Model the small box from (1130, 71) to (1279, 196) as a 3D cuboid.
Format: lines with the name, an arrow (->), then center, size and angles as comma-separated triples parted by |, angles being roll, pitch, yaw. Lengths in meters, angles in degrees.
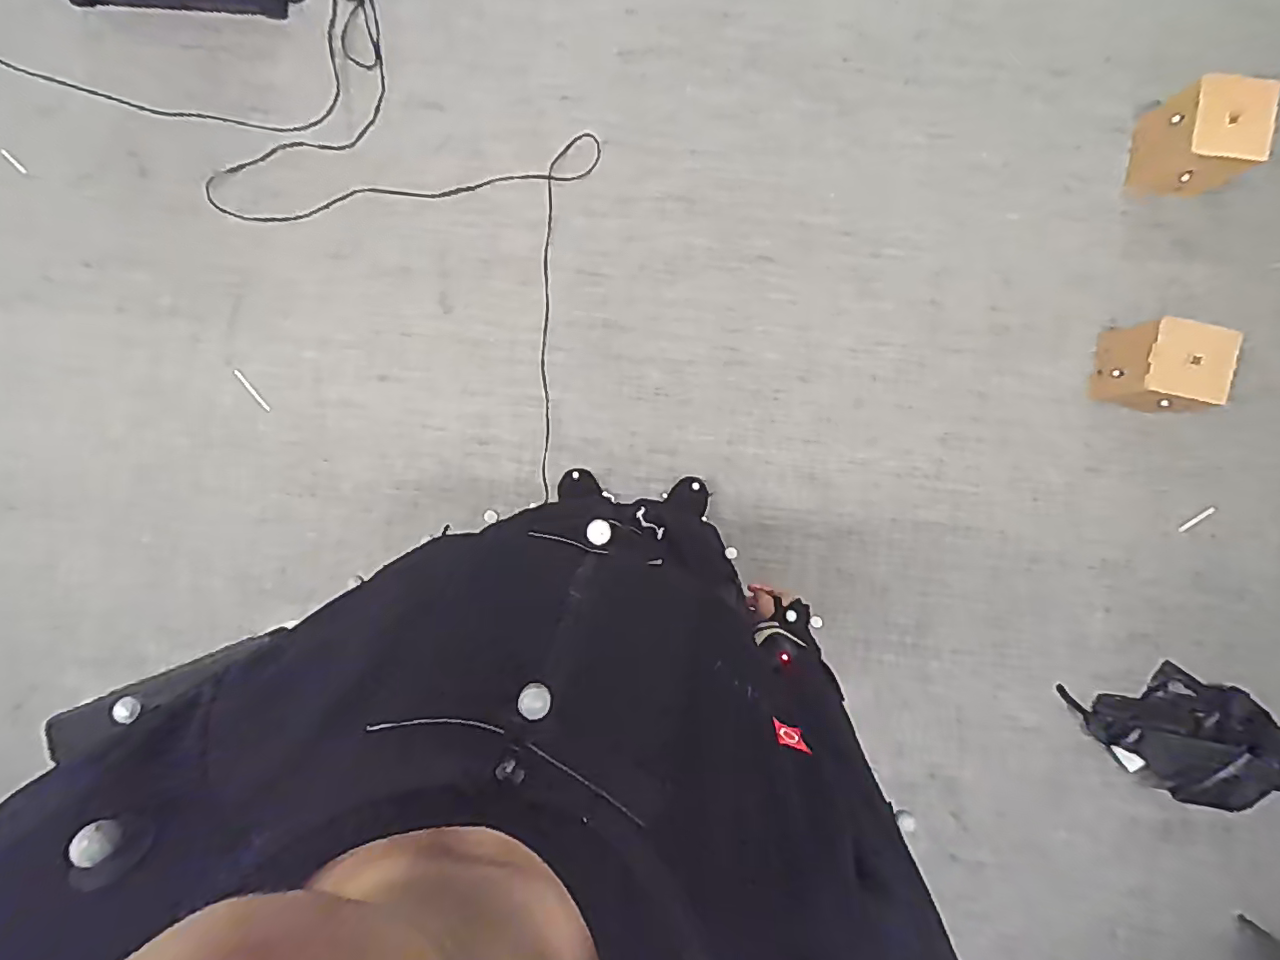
small box -> 1.279, -0.781, 1.235 | 0.168, 0.176, 0.179 | 8, 91, 2

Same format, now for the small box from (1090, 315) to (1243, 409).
small box -> 1.200, -0.263, 1.248 | 0.179, 0.176, 0.168 | 12, 93, 1
